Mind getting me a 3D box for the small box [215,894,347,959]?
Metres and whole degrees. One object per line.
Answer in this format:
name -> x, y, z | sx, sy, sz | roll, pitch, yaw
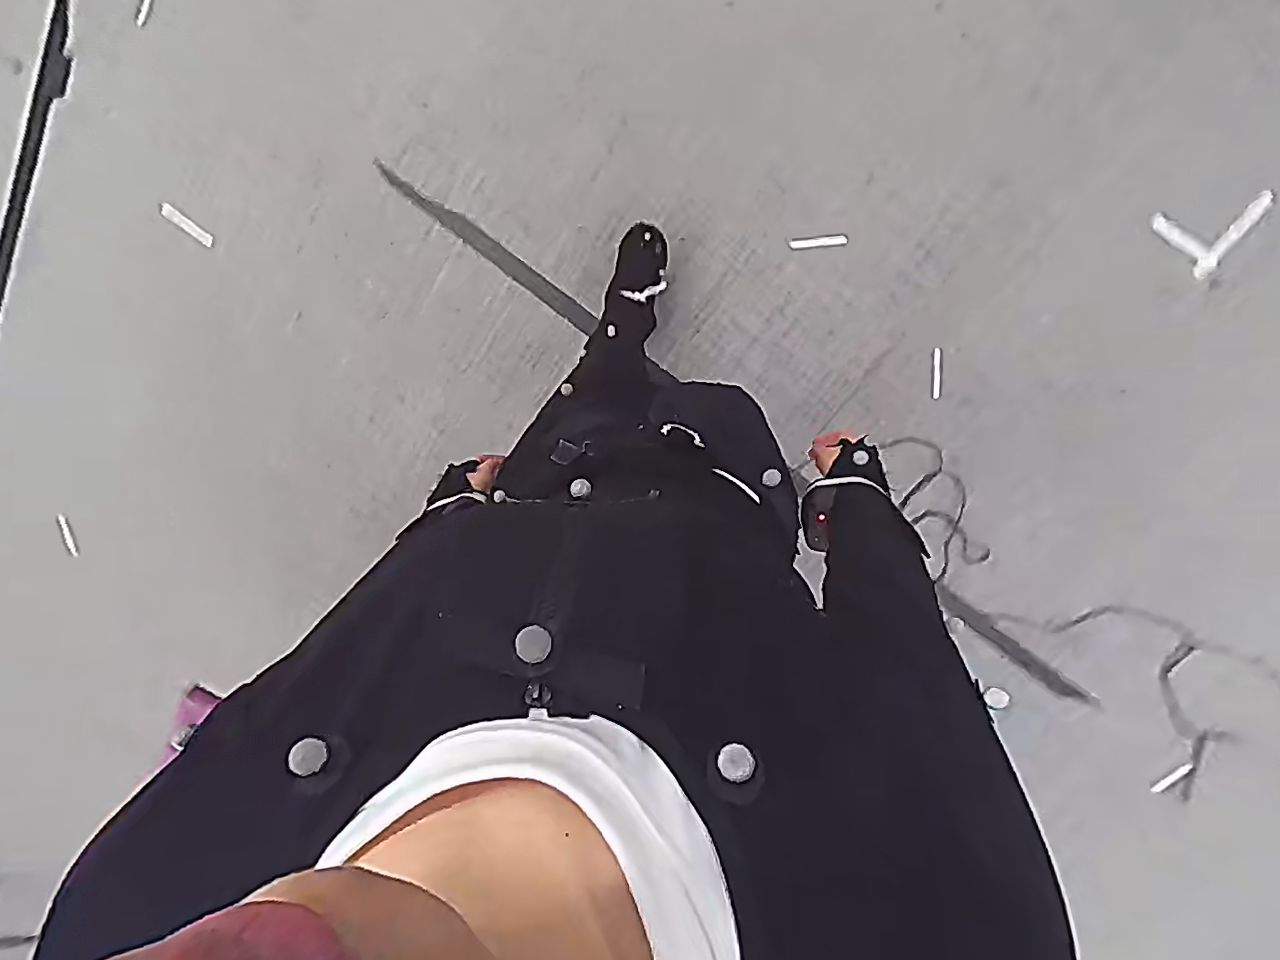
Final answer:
small box -> -0.586, 0.787, 0.813 | 0.168, 0.176, 0.179 | 39, 105, -3
